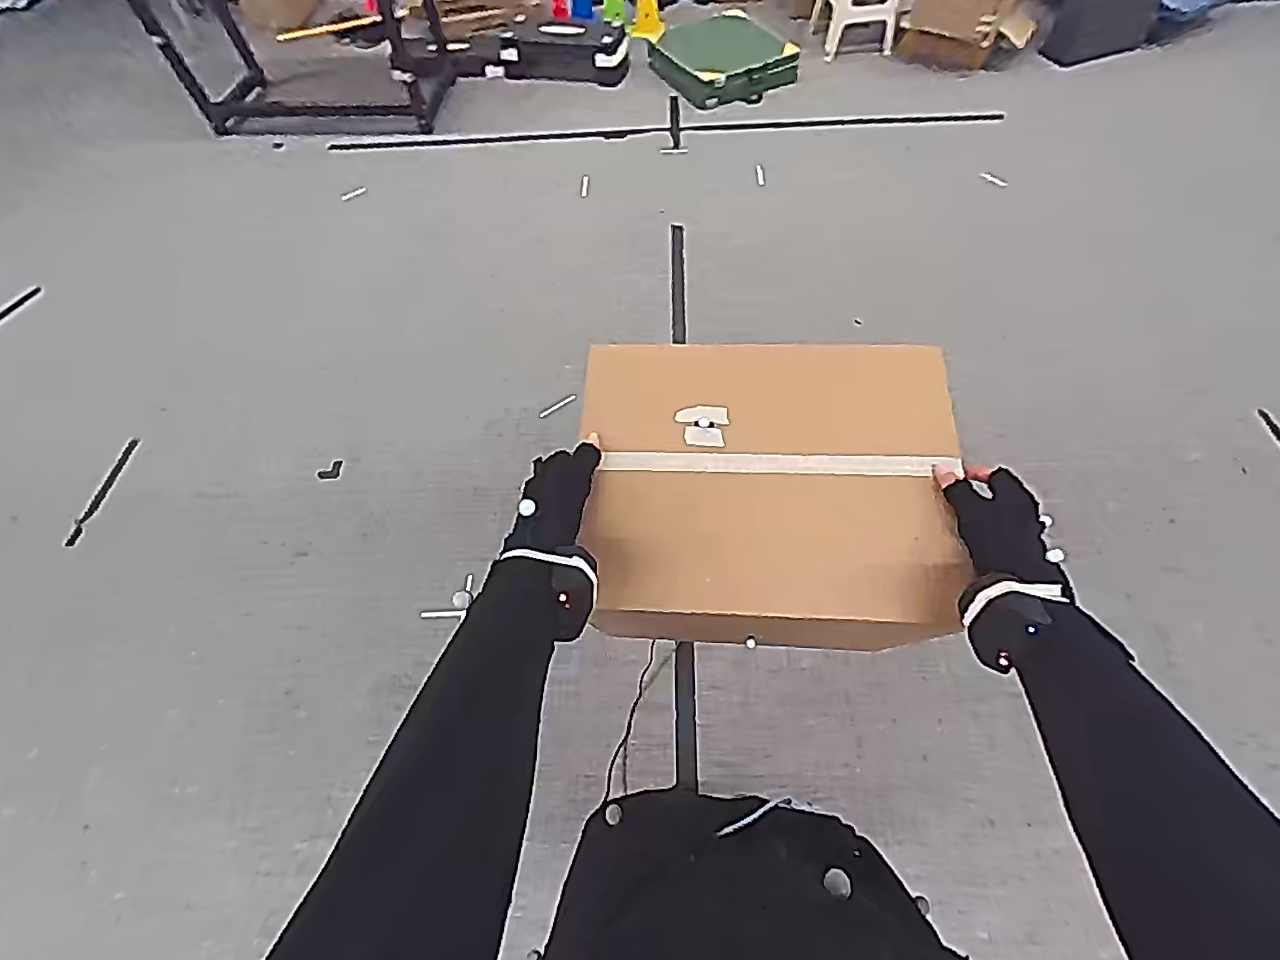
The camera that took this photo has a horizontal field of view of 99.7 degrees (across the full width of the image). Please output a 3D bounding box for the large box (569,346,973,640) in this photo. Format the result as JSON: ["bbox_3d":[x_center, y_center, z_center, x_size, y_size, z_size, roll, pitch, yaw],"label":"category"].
[{"bbox_3d":[0.145,0.041,0.728,0.408,0.320,0.320,1,68,6],"label":"large box"}]
